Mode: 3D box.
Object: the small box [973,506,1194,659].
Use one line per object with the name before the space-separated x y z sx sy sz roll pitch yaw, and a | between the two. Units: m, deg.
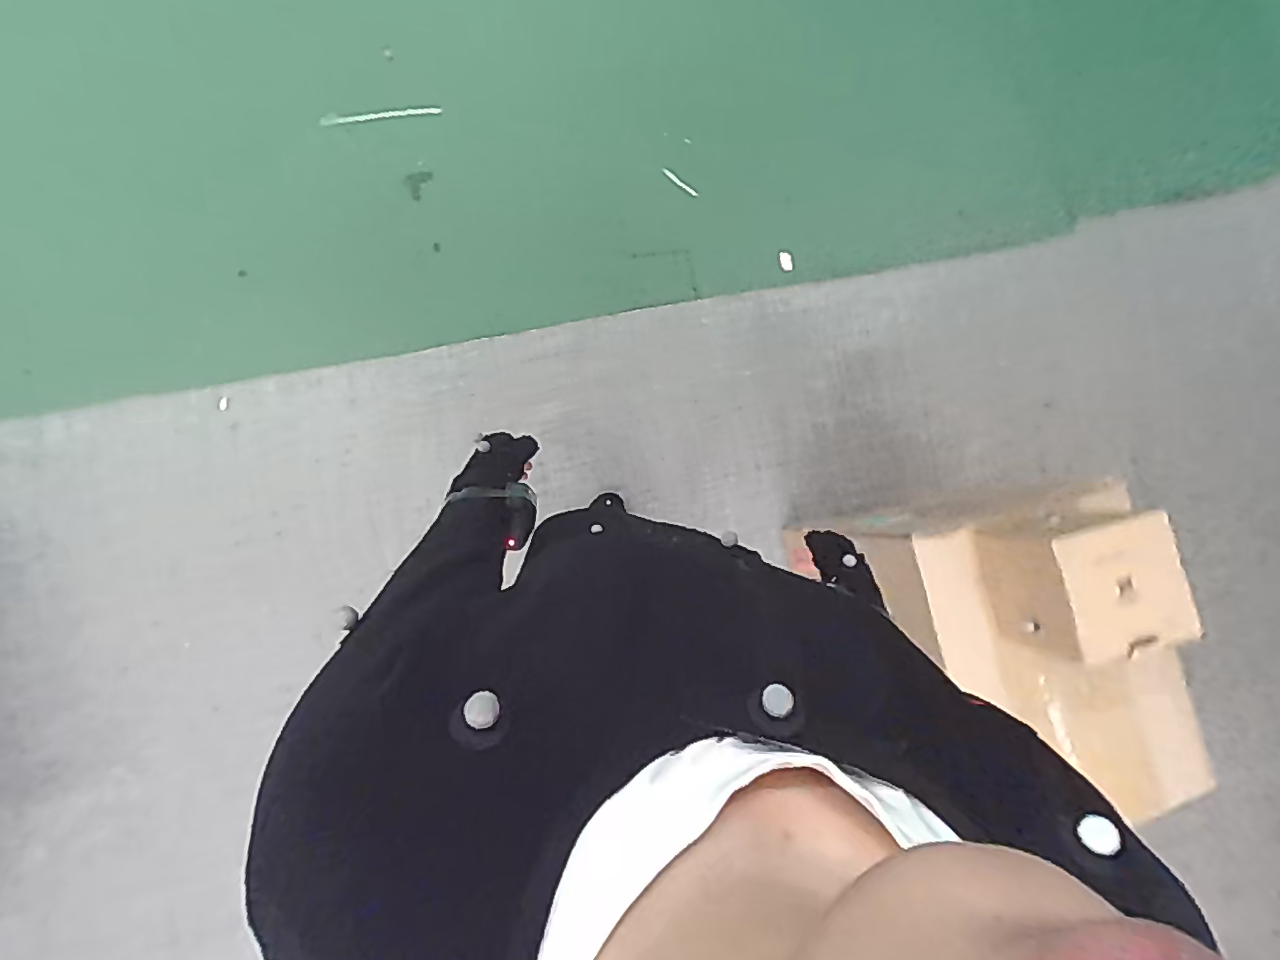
small box | 0.643 0.141 0.807 0.168 0.176 0.179 -15 87 -3
